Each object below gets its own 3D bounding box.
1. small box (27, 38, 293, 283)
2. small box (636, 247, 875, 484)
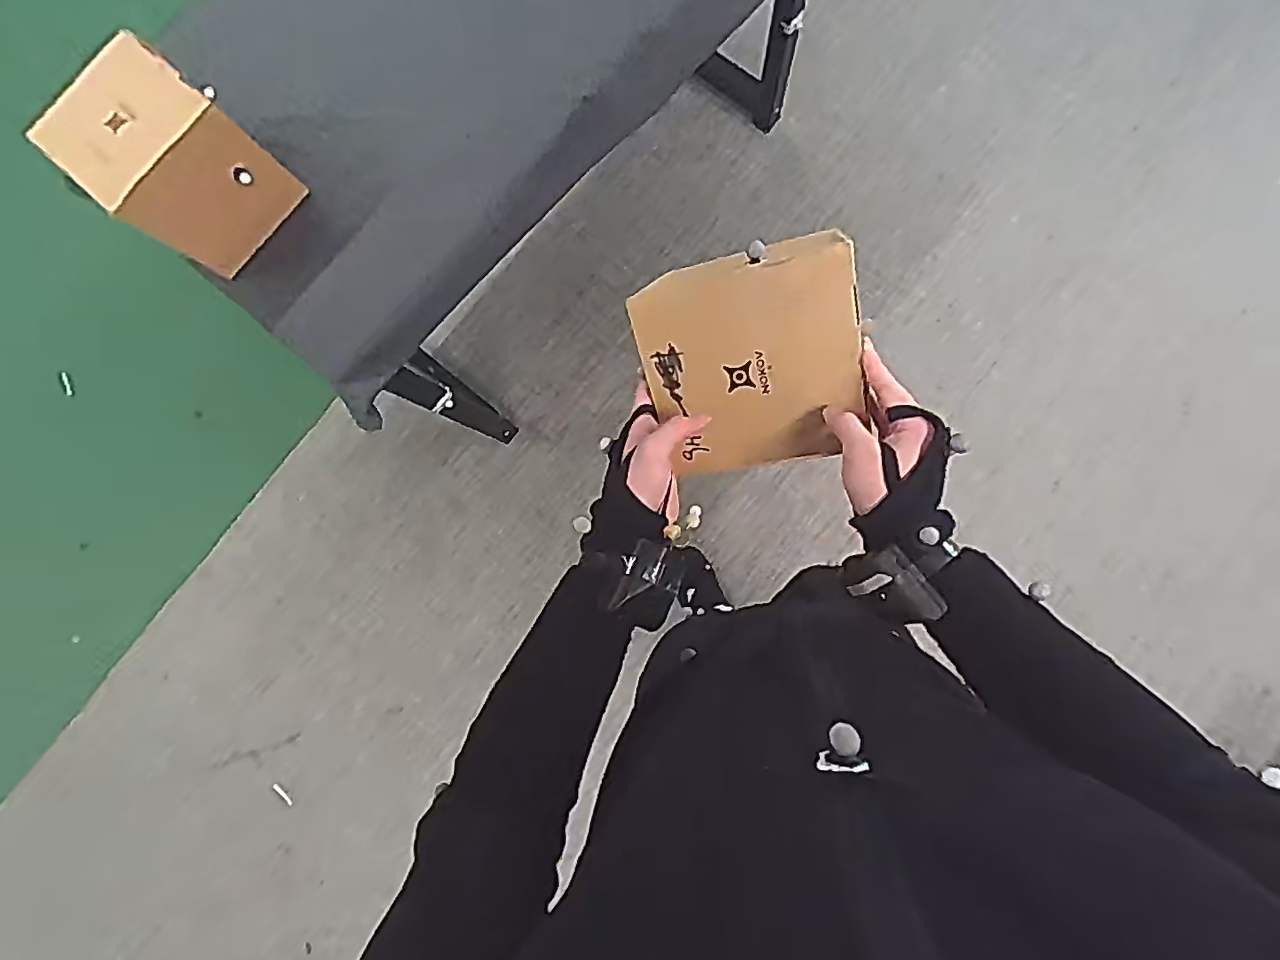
[{"bbox_3d":[-0.601,-0.402,0.708,0.168,0.176,0.179,42,89,9],"label":"small box"},{"bbox_3d":[0.114,-0.115,0.519,0.179,0.176,0.168,-8,113,18],"label":"small box"}]
